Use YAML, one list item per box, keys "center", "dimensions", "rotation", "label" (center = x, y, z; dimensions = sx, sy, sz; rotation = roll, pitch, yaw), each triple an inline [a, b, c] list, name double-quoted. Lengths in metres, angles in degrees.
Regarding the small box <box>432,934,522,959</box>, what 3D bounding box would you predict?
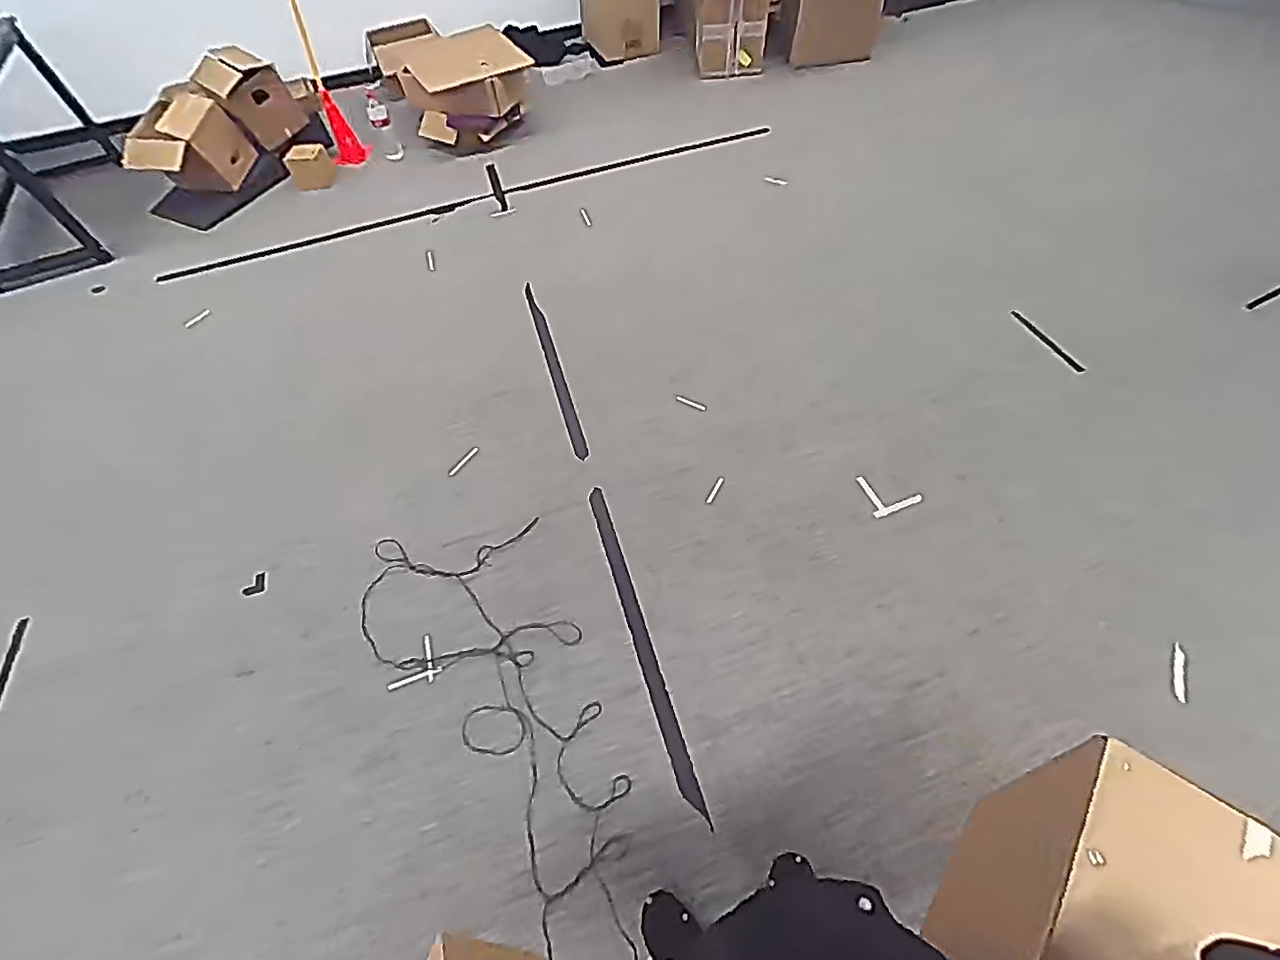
- center: [-0.195, 0.708, 0.652]
  dimensions: [0.176, 0.179, 0.168]
  rotation: [31, 70, -15]
  label: "small box"
